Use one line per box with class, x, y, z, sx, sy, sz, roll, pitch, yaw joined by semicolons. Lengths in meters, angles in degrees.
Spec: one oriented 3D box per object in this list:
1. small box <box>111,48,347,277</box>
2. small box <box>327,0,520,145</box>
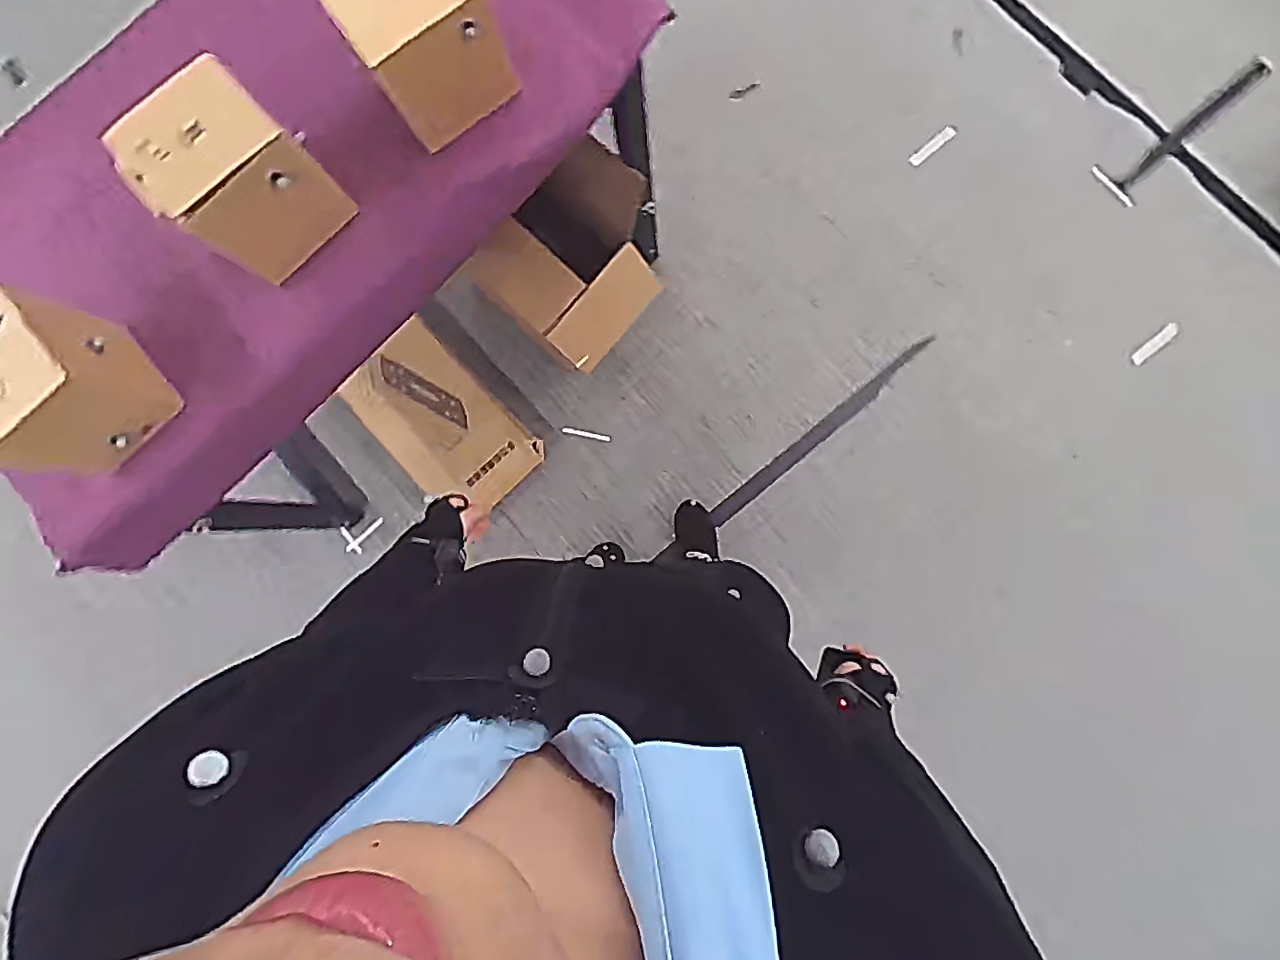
small box;-0.549;-0.427;0.755;0.179;0.176;0.168;-42;82;0
small box;-0.298;-0.622;0.755;0.179;0.176;0.168;-35;84;0
